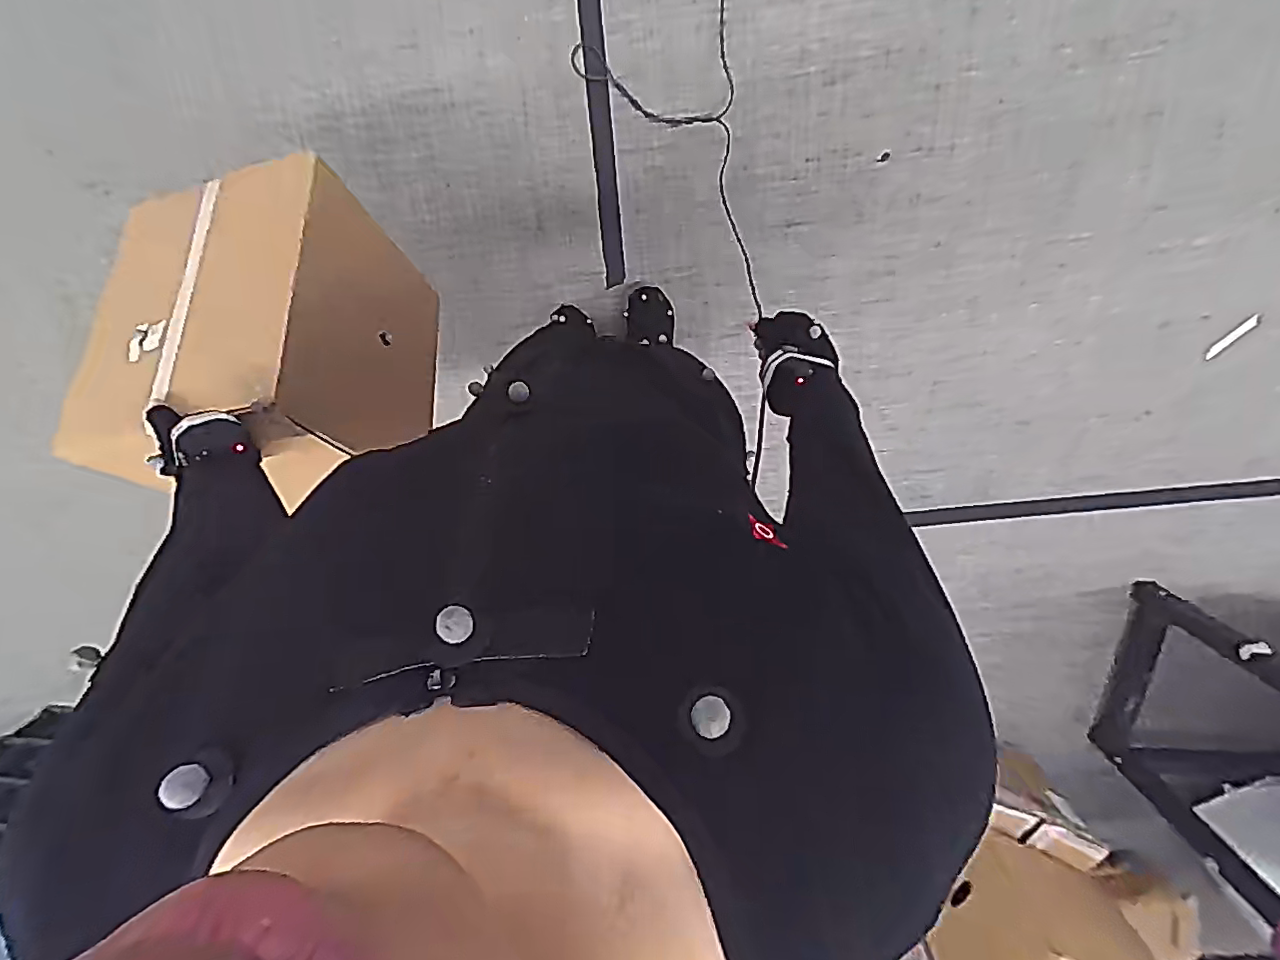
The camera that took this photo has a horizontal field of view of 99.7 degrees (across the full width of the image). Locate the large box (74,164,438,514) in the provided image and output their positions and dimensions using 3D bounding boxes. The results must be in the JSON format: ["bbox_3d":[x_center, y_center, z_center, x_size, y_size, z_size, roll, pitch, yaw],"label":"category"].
[{"bbox_3d":[-0.545,-0.195,0.856,0.320,0.320,0.408,-10,68,10],"label":"large box"}]
